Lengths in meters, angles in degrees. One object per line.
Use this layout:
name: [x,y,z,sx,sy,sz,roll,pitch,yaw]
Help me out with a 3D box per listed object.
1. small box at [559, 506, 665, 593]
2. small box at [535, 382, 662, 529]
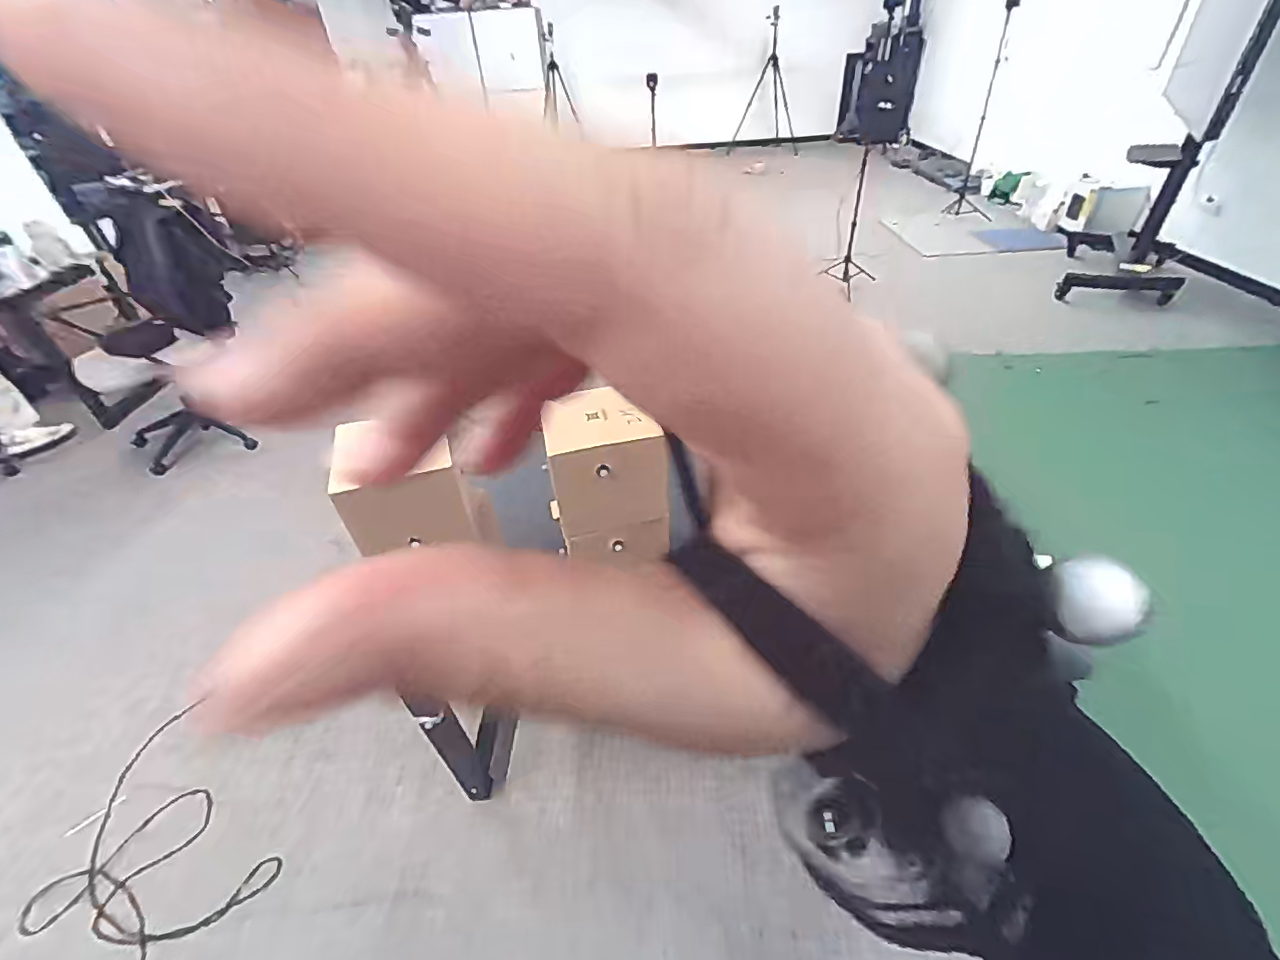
small box: [-0.058,0.086,1.004,0.179,0.176,0.168,-12,41,-10]
small box: [-0.068,-0.038,0.897,0.179,0.176,0.168,-11,41,-8]
